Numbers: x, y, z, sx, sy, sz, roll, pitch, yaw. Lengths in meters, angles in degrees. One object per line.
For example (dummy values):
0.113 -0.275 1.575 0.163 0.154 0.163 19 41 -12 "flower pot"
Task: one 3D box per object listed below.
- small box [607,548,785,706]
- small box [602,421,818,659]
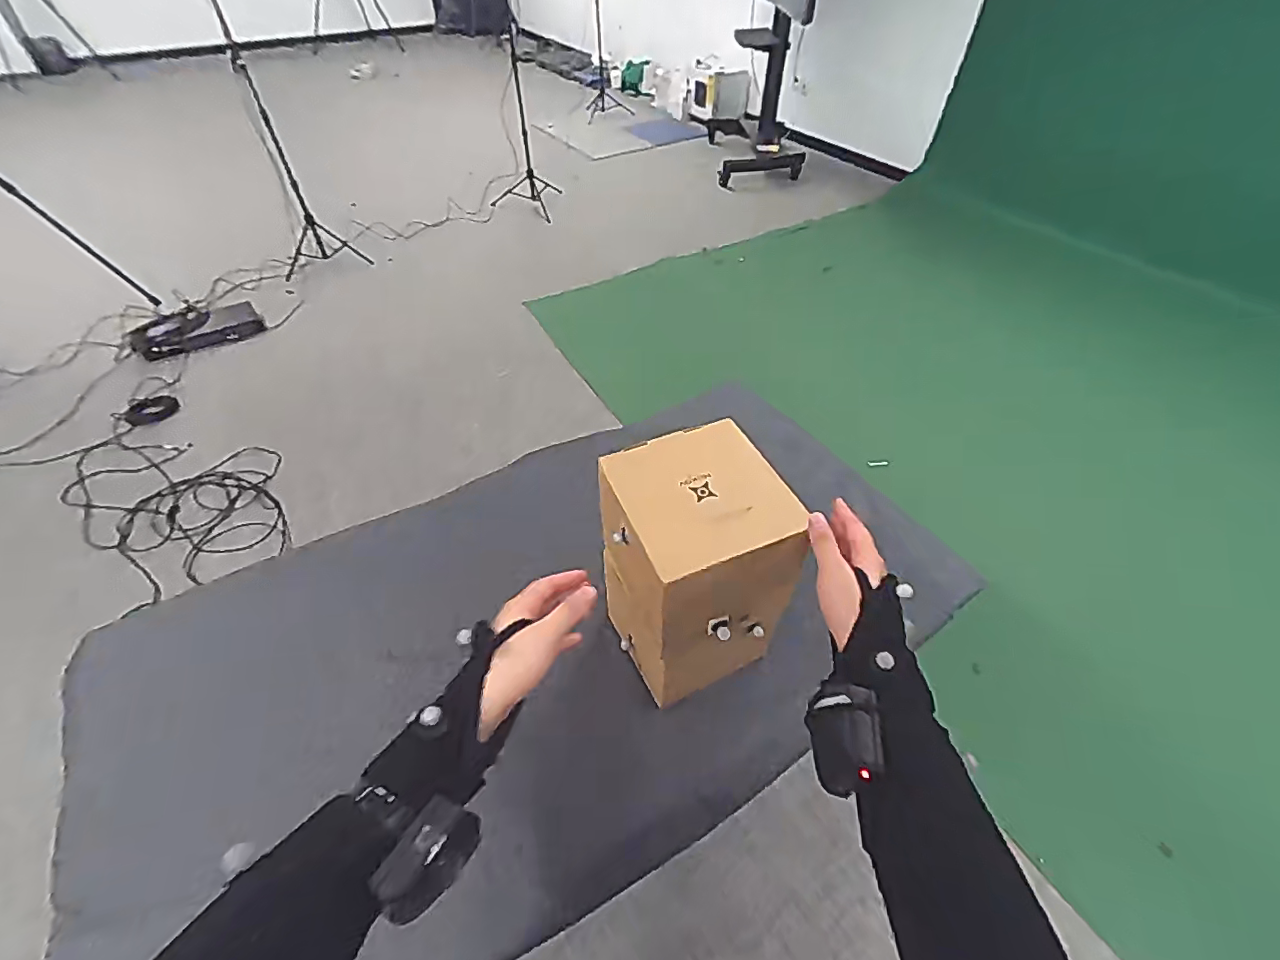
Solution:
0.067 0.170 0.731 0.179 0.176 0.168 -21 50 -18 "small box"
0.064 0.067 0.606 0.168 0.176 0.179 -18 51 -14 "small box"
